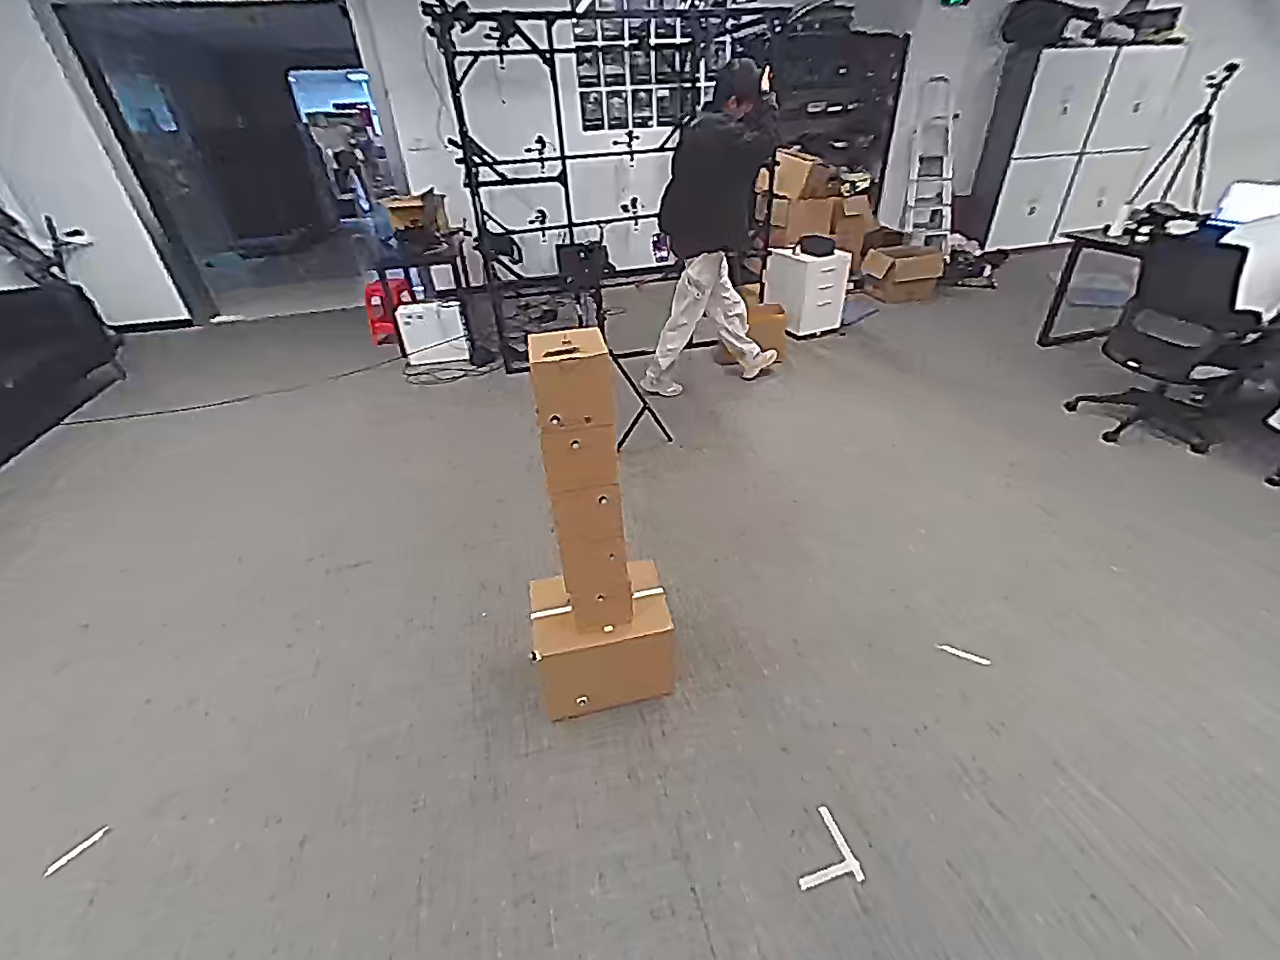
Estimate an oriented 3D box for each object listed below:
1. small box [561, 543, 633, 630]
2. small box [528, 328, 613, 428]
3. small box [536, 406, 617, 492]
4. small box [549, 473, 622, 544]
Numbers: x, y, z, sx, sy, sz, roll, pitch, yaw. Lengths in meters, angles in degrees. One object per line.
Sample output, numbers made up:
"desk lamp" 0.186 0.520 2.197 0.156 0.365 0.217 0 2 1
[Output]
"small box" -0.126 0.316 1.591 0.179 0.176 0.168 -10 36 -11
"small box" -0.158 -0.226 1.225 0.168 0.176 0.179 -9 35 -7
"small box" -0.152 -0.090 1.317 0.179 0.176 0.168 -9 36 -7
"small box" -0.144 0.044 1.407 0.179 0.176 0.168 -9 35 -8
